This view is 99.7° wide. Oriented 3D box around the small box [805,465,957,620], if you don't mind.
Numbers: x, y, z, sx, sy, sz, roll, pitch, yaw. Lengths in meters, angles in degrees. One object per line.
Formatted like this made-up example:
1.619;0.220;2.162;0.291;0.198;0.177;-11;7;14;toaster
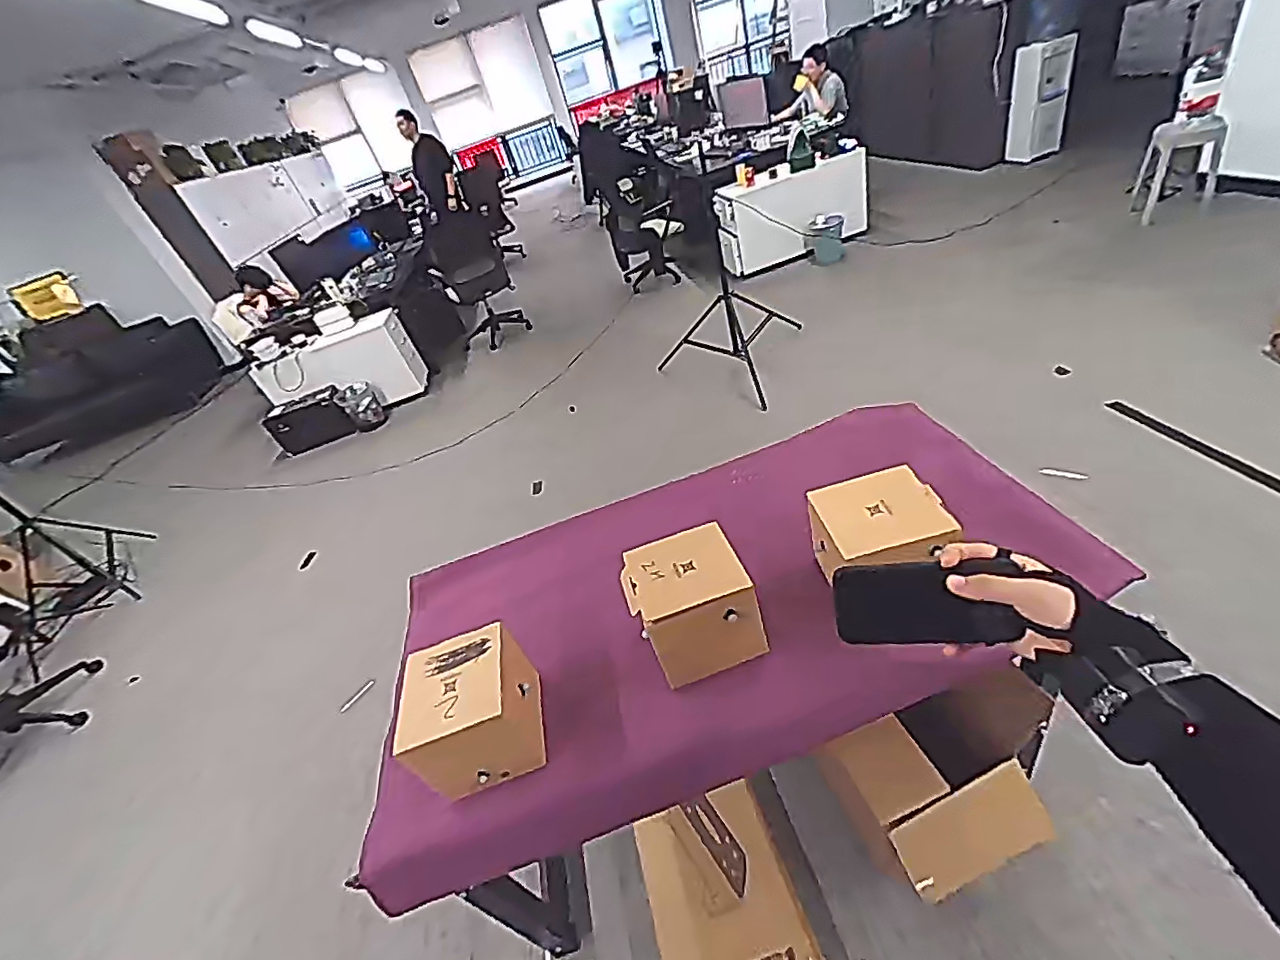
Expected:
0.393;0.107;0.897;0.179;0.176;0.168;-17;36;4;small box

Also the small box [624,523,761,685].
0.091;0.207;0.907;0.179;0.176;0.168;-21;34;-2;small box
